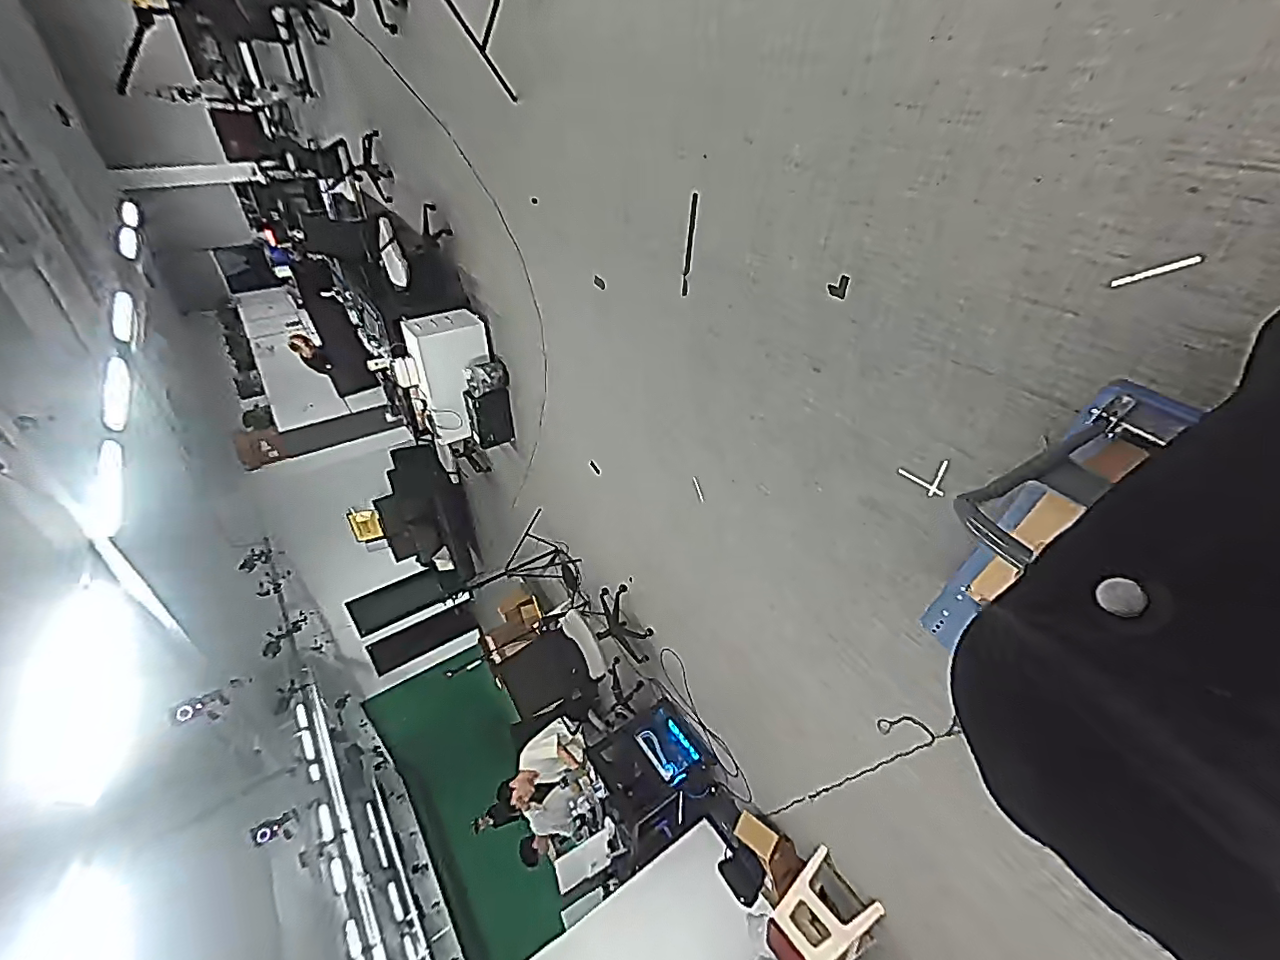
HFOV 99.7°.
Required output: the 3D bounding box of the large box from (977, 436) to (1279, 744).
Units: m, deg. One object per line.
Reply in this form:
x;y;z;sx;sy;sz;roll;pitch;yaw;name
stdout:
0.966;0.181;1.009;0.408;0.320;0.320;47;145;36;large box
